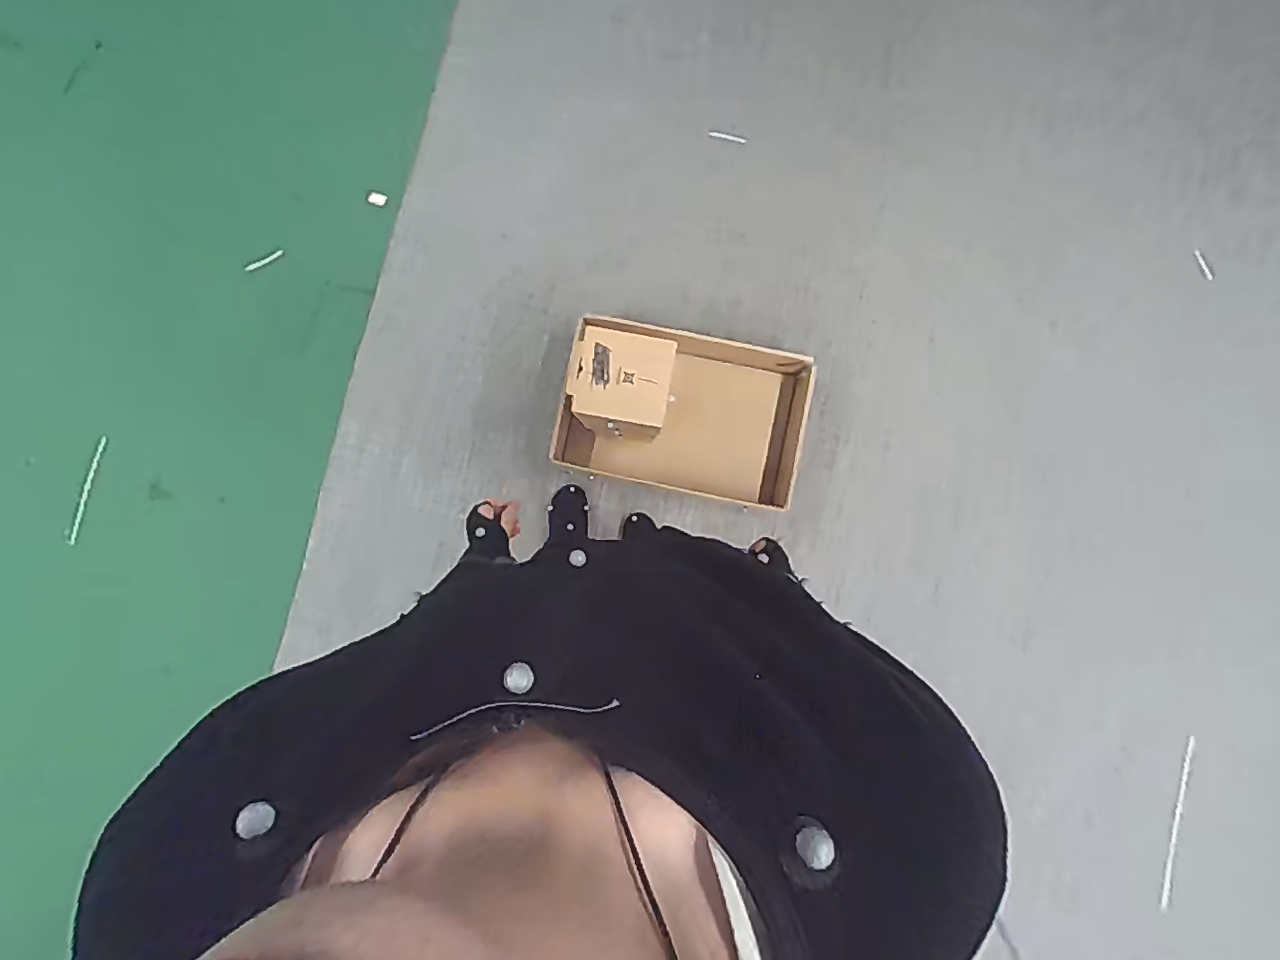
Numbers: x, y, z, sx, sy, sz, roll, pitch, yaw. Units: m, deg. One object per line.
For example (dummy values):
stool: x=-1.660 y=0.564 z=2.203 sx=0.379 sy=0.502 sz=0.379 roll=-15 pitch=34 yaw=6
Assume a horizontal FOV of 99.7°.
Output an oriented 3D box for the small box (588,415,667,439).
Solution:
small box: x=-0.012 y=-0.193 z=1.249 sx=0.179 sy=0.176 sz=0.168 roll=11 pitch=90 yaw=1

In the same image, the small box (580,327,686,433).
small box: x=-0.012 y=-0.192 z=1.086 sx=0.179 sy=0.176 sz=0.168 roll=10 pitch=90 yaw=1
